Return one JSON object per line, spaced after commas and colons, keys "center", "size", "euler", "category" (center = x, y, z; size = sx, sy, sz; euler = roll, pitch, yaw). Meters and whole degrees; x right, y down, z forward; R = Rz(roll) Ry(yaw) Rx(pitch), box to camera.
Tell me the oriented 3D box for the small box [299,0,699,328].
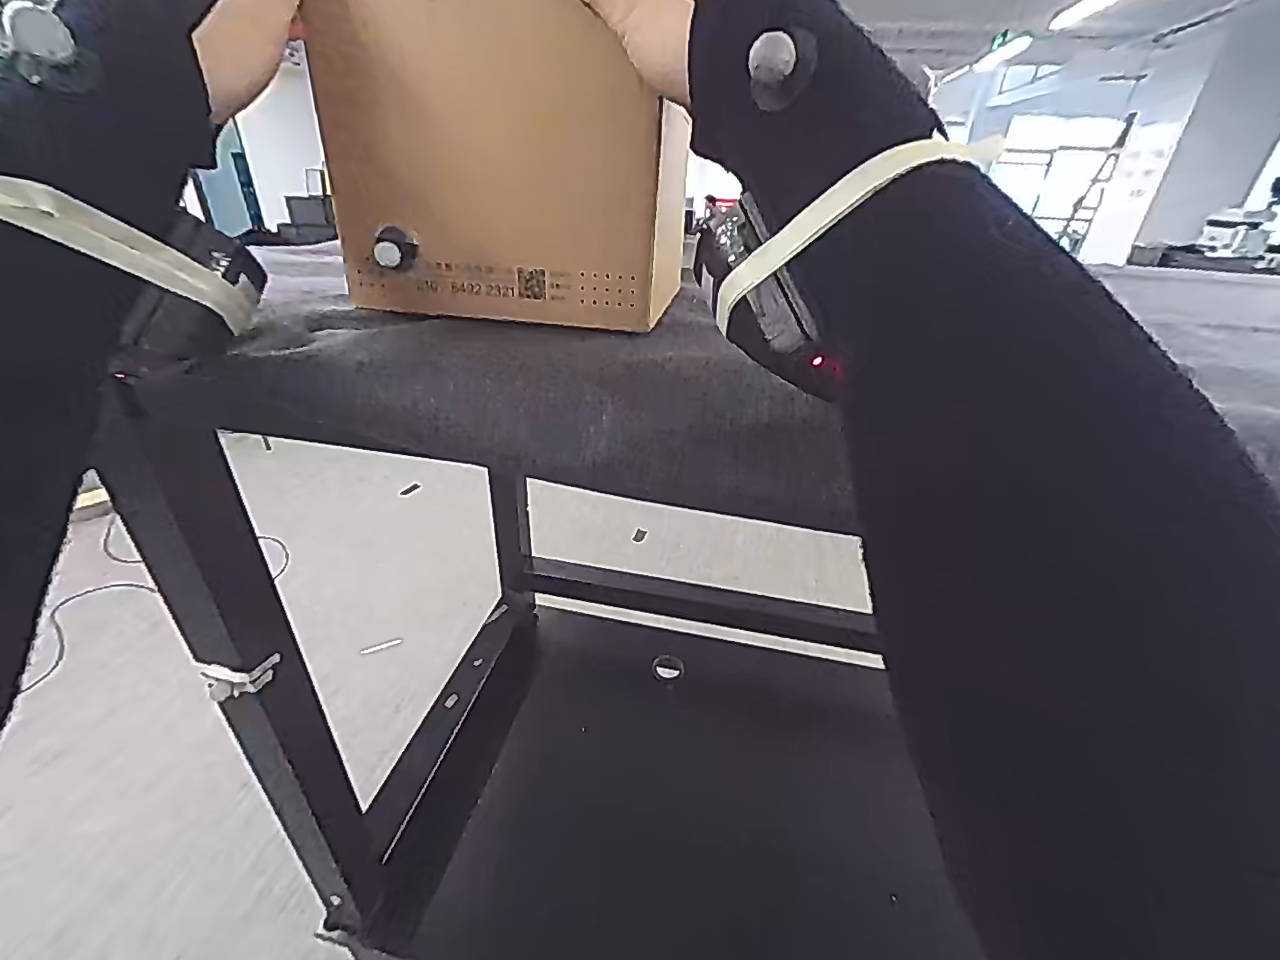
{"center": [-0.058, -0.192, 0.324], "size": [0.168, 0.176, 0.179], "euler": [7, 26, 6], "category": "small box"}
